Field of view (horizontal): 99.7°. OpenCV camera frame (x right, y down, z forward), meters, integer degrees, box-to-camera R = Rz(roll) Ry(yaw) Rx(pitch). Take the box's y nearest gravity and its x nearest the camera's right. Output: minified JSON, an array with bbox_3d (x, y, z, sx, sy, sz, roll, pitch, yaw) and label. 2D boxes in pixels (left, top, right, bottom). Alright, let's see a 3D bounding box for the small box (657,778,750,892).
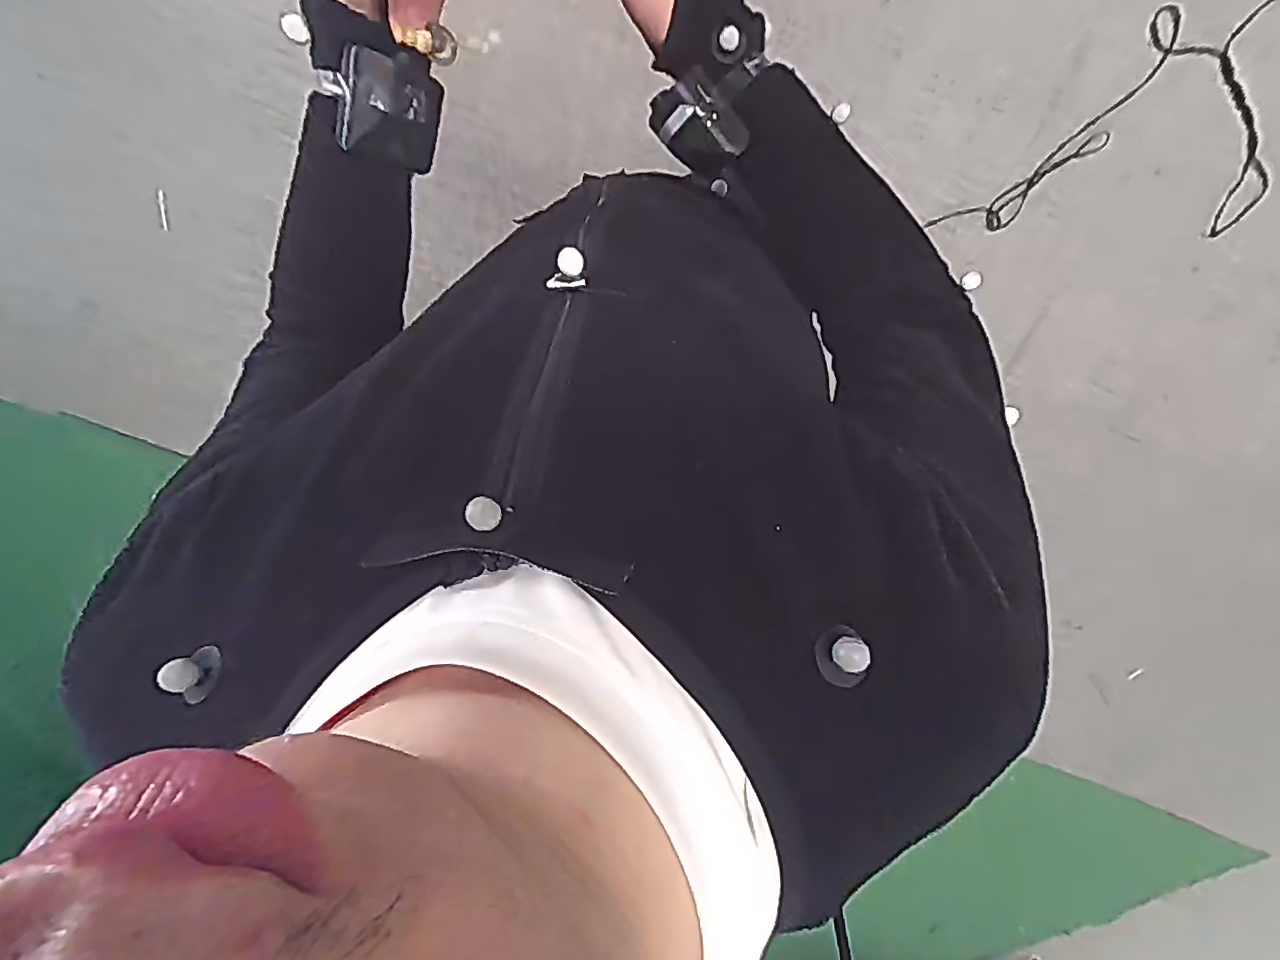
[{"bbox_3d":[0.153,0.874,1.338,0.168,0.176,0.179,24,123,-9],"label":"small box"}]
